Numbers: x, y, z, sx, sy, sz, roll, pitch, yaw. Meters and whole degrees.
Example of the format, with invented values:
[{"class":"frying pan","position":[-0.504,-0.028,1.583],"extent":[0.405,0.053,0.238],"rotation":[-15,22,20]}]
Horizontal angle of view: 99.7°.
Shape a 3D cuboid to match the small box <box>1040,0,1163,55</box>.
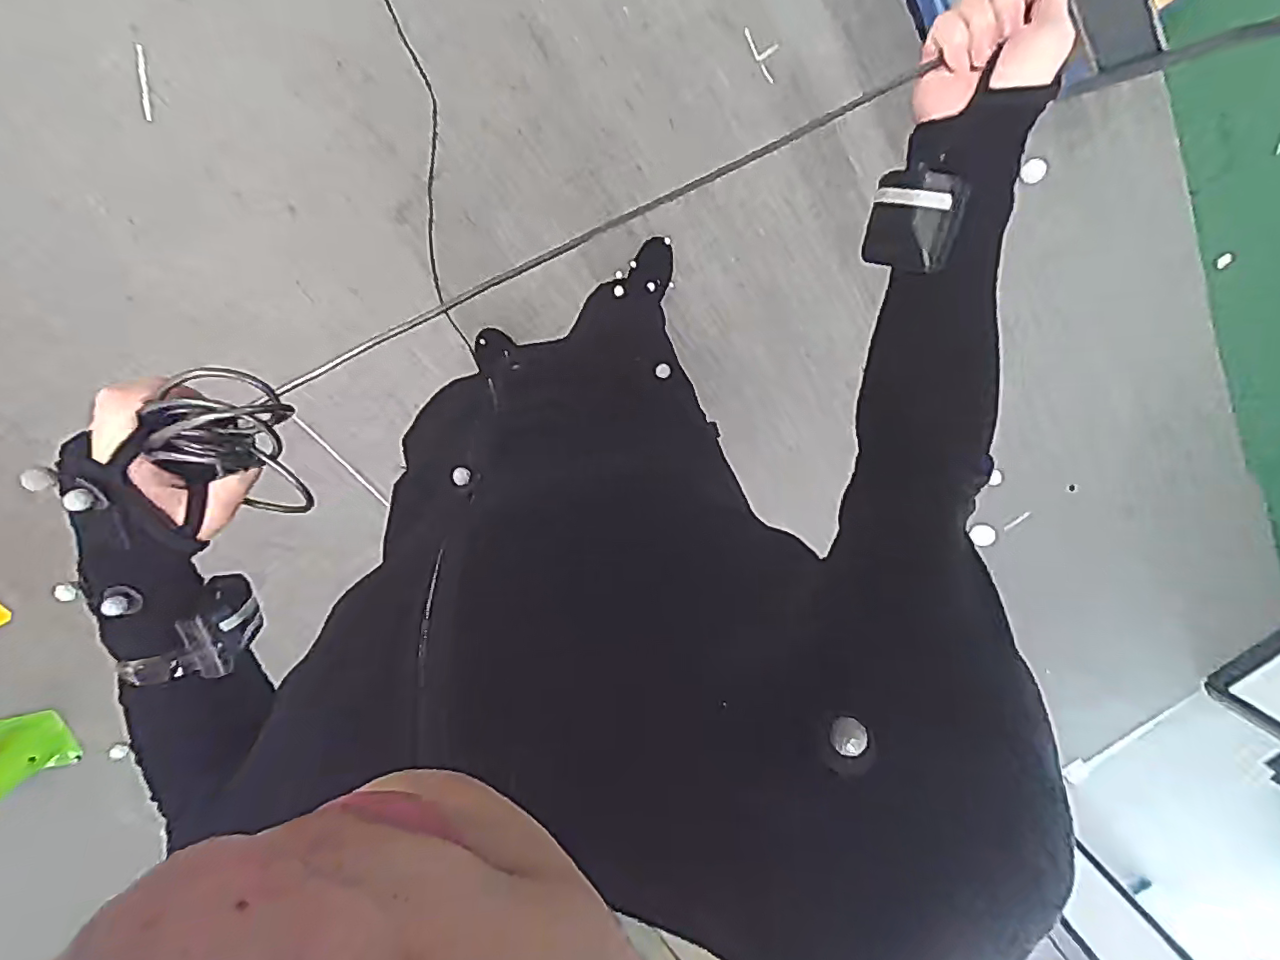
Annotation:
[{"class":"small box","position":[1.037,-1.096,1.191],"extent":[0.179,0.176,0.168],"rotation":[-35,112,5]}]
